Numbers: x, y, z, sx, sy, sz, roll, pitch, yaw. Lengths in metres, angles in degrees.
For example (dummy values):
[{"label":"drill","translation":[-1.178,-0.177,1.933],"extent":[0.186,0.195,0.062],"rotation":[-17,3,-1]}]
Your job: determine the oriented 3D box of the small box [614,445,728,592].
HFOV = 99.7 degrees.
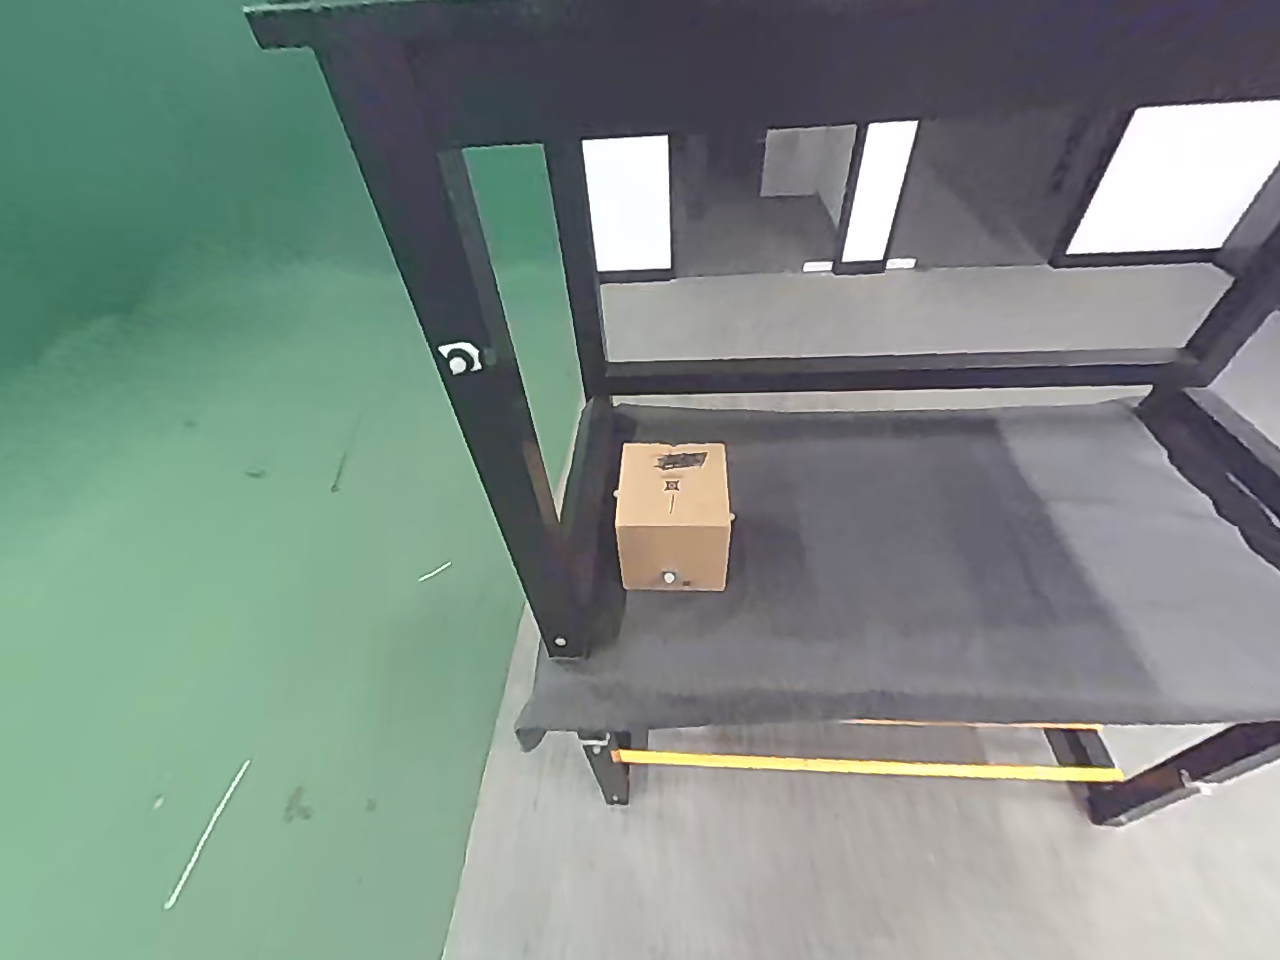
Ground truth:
[{"label":"small box","translation":[0.052,0.061,0.885],"extent":[0.168,0.176,0.179],"rotation":[0,46,4]}]
